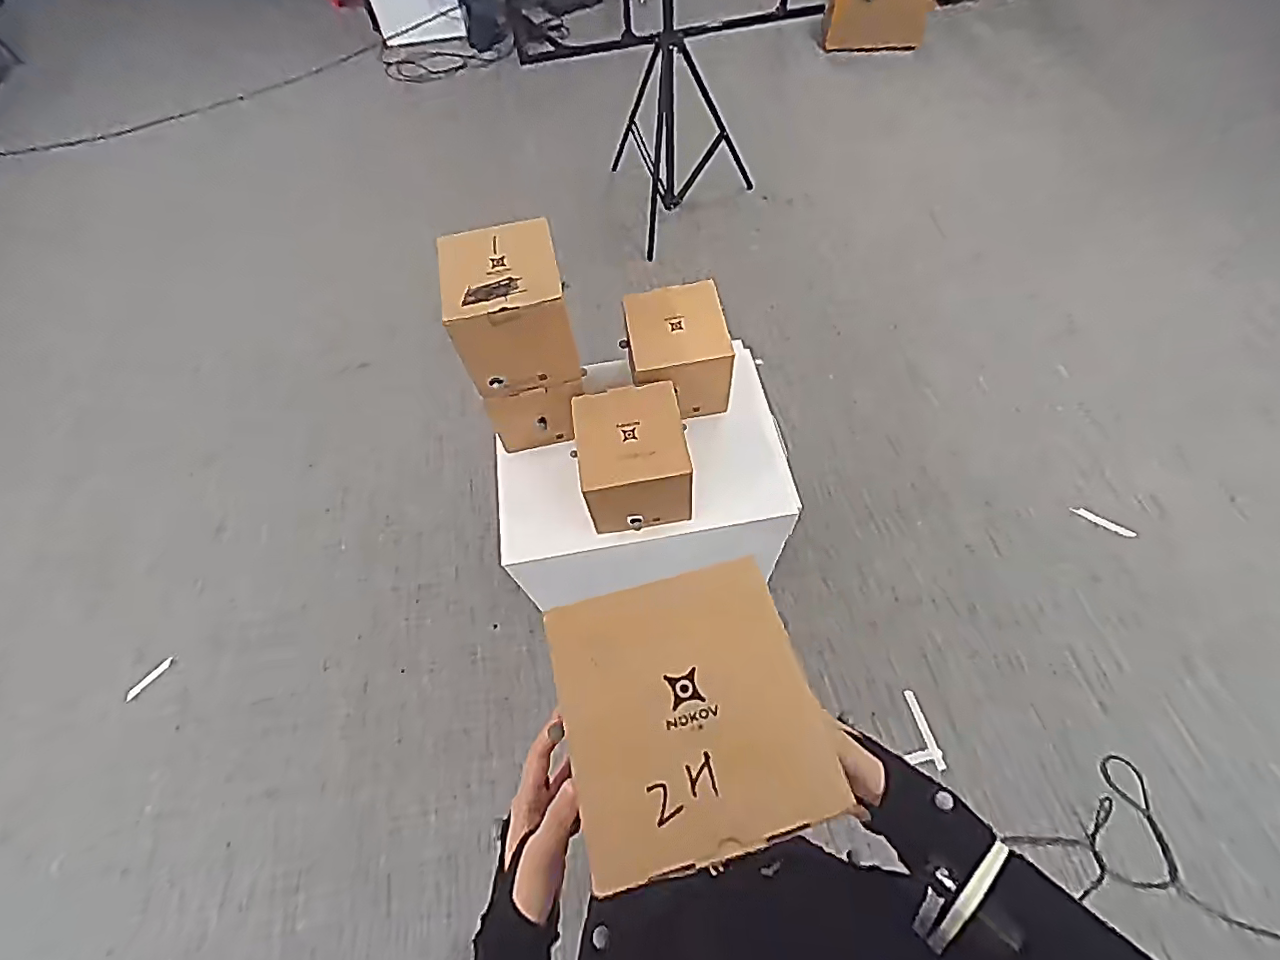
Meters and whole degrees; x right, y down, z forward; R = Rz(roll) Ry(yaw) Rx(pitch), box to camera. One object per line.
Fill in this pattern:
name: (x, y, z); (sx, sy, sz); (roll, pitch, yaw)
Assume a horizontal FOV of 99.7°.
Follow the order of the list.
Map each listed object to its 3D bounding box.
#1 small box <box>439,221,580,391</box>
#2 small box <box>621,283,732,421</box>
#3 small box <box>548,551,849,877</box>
small box: (-0.194, -0.256, 0.831); (0.168, 0.176, 0.179); (-13, 62, -3)
small box: (0.066, -0.222, 0.983); (0.168, 0.176, 0.179); (-10, 62, -1)
small box: (0.032, 0.183, 0.434); (0.168, 0.176, 0.179); (-14, 61, -6)
